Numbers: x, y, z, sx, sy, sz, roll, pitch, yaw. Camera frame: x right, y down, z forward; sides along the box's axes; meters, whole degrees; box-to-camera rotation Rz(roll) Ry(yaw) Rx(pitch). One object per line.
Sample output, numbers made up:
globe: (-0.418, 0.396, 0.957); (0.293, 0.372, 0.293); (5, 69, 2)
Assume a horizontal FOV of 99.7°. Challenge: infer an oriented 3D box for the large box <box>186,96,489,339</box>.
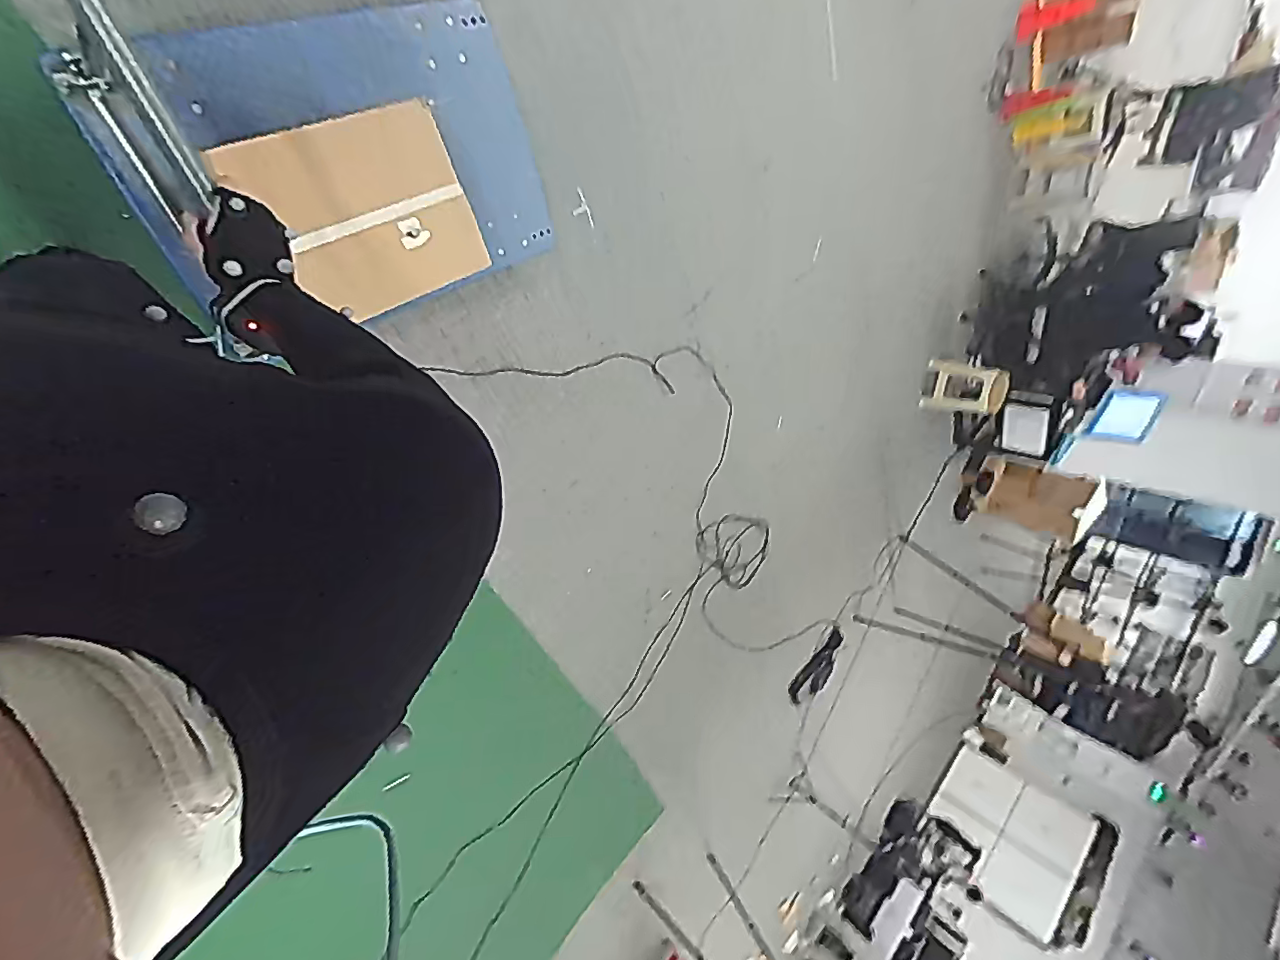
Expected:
large box: (-0.602, -0.526, 1.107); (0.408, 0.320, 0.320); (-38, 129, -27)
